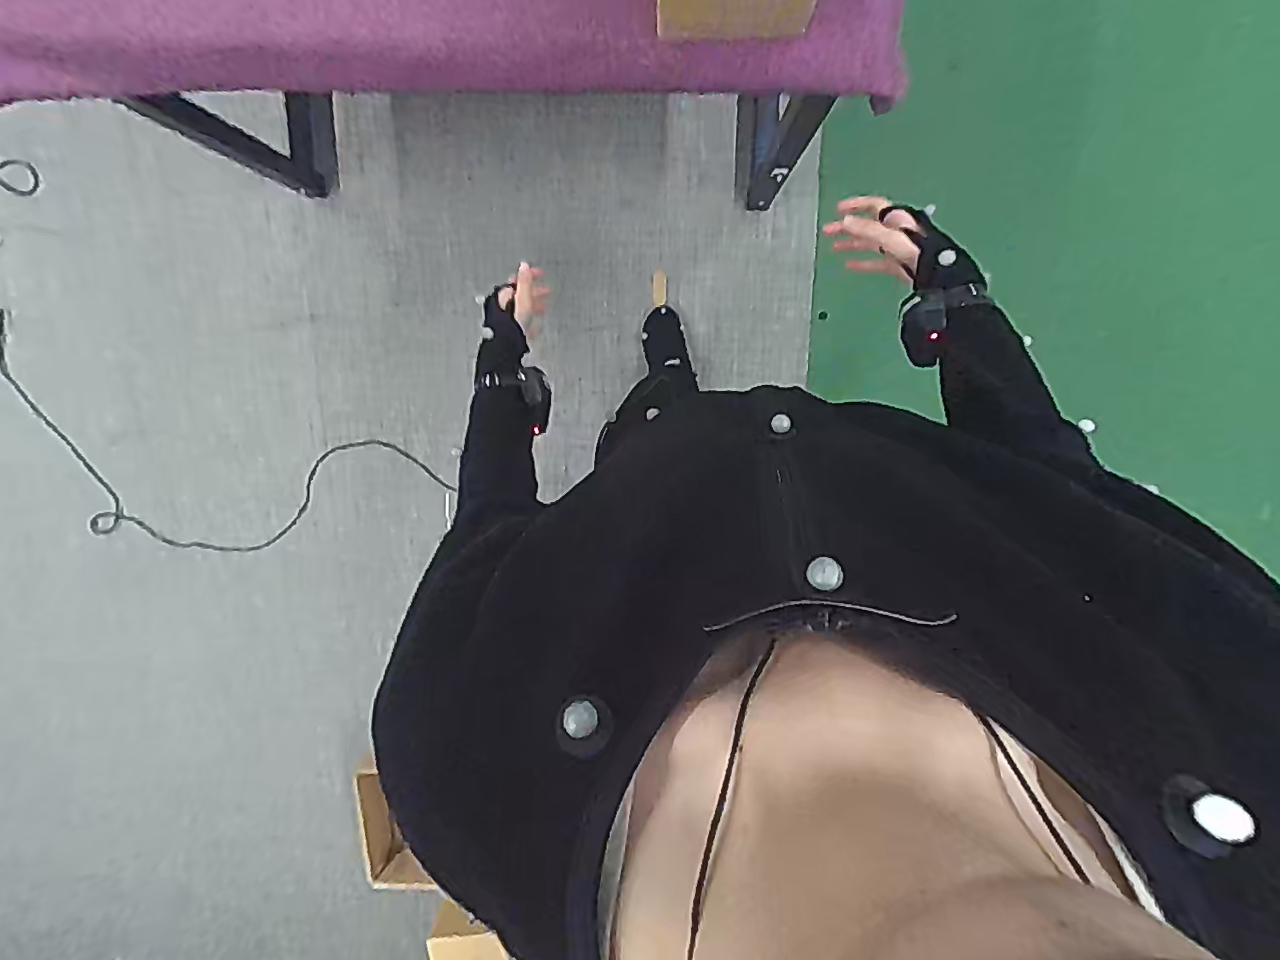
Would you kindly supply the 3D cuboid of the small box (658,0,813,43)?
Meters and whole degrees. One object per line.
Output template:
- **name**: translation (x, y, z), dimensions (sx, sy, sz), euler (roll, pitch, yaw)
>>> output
- **small box**: translation (0.106, -0.596, 0.565), dimensions (0.179, 0.176, 0.168), euler (0, 101, 2)

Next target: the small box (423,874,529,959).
- **small box**: translation (-0.374, 1.065, 1.263), dimensions (0.179, 0.176, 0.168), euler (-8, 98, 4)
